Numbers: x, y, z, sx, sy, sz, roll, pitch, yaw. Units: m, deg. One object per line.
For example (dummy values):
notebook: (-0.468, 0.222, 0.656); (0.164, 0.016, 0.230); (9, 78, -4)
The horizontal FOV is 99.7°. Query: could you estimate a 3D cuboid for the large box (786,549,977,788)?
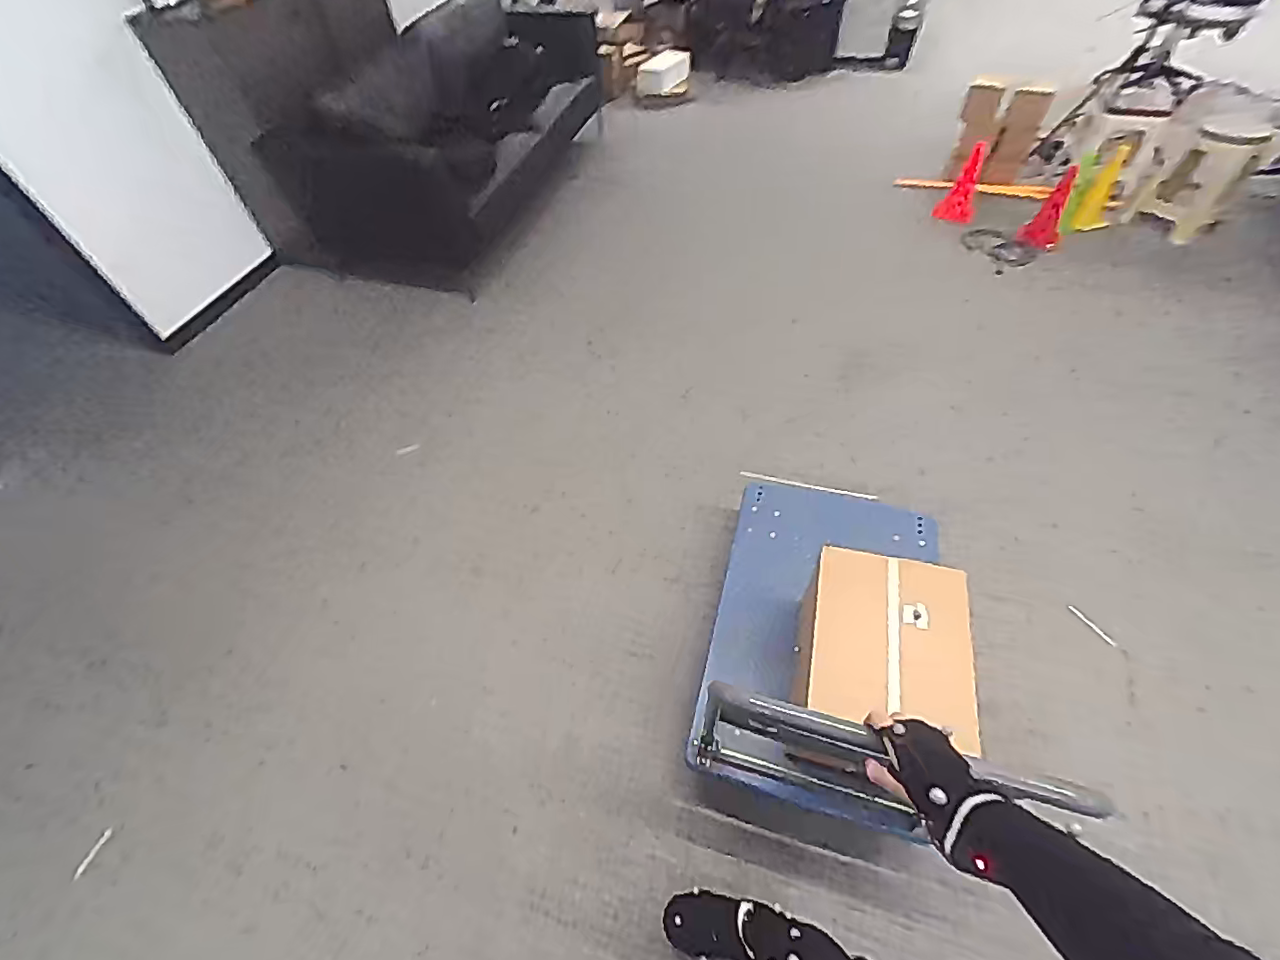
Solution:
large box: (0.523, 0.429, 1.241); (0.320, 0.320, 0.408); (10, 54, 12)
